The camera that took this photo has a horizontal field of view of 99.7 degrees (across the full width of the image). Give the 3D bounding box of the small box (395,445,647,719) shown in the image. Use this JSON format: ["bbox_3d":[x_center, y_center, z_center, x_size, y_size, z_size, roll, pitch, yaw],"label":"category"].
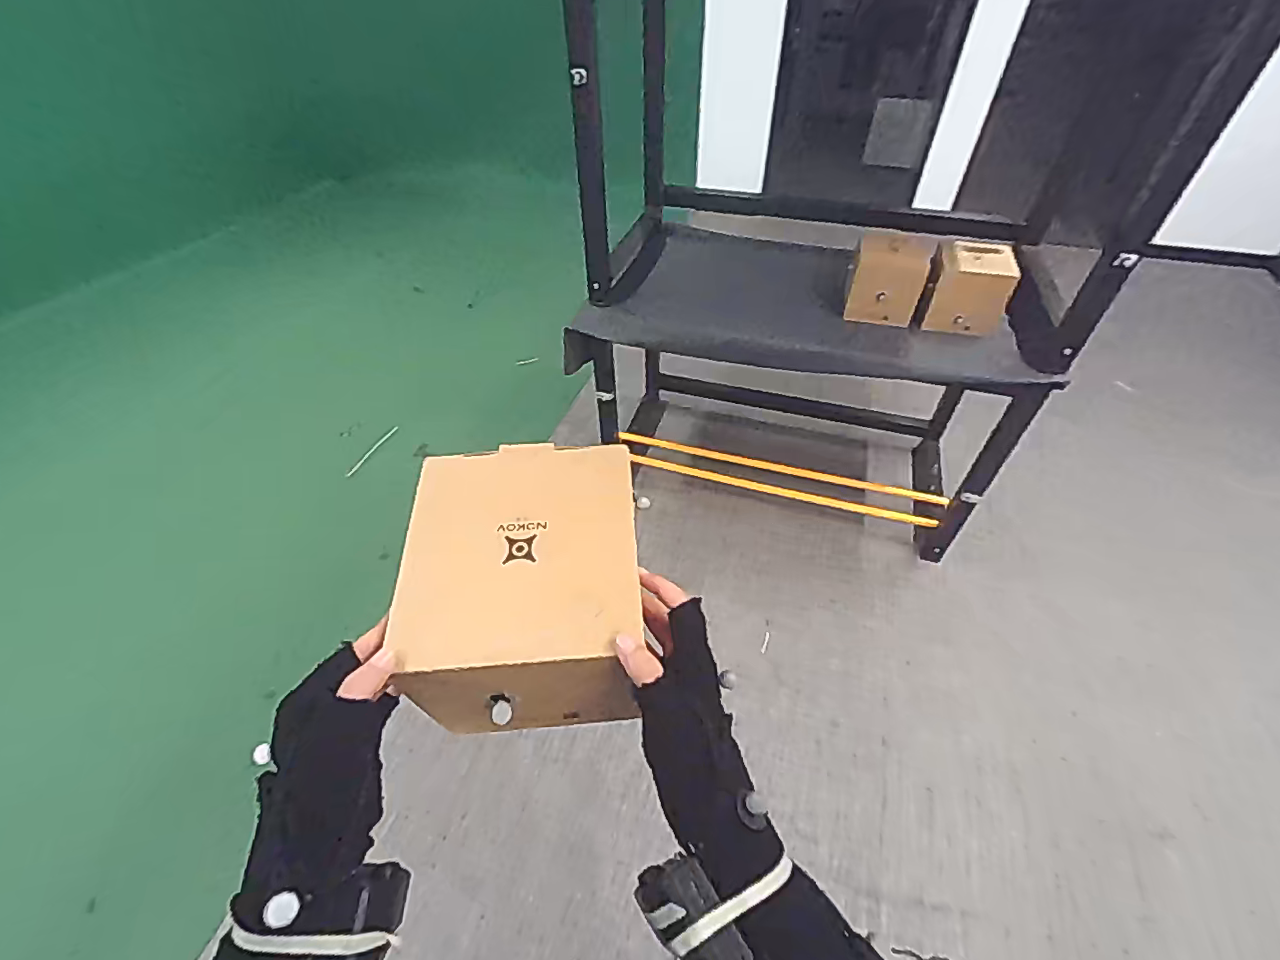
[{"bbox_3d":[-0.081,0.093,0.458,0.168,0.176,0.179,-4,53,-3],"label":"small box"}]
